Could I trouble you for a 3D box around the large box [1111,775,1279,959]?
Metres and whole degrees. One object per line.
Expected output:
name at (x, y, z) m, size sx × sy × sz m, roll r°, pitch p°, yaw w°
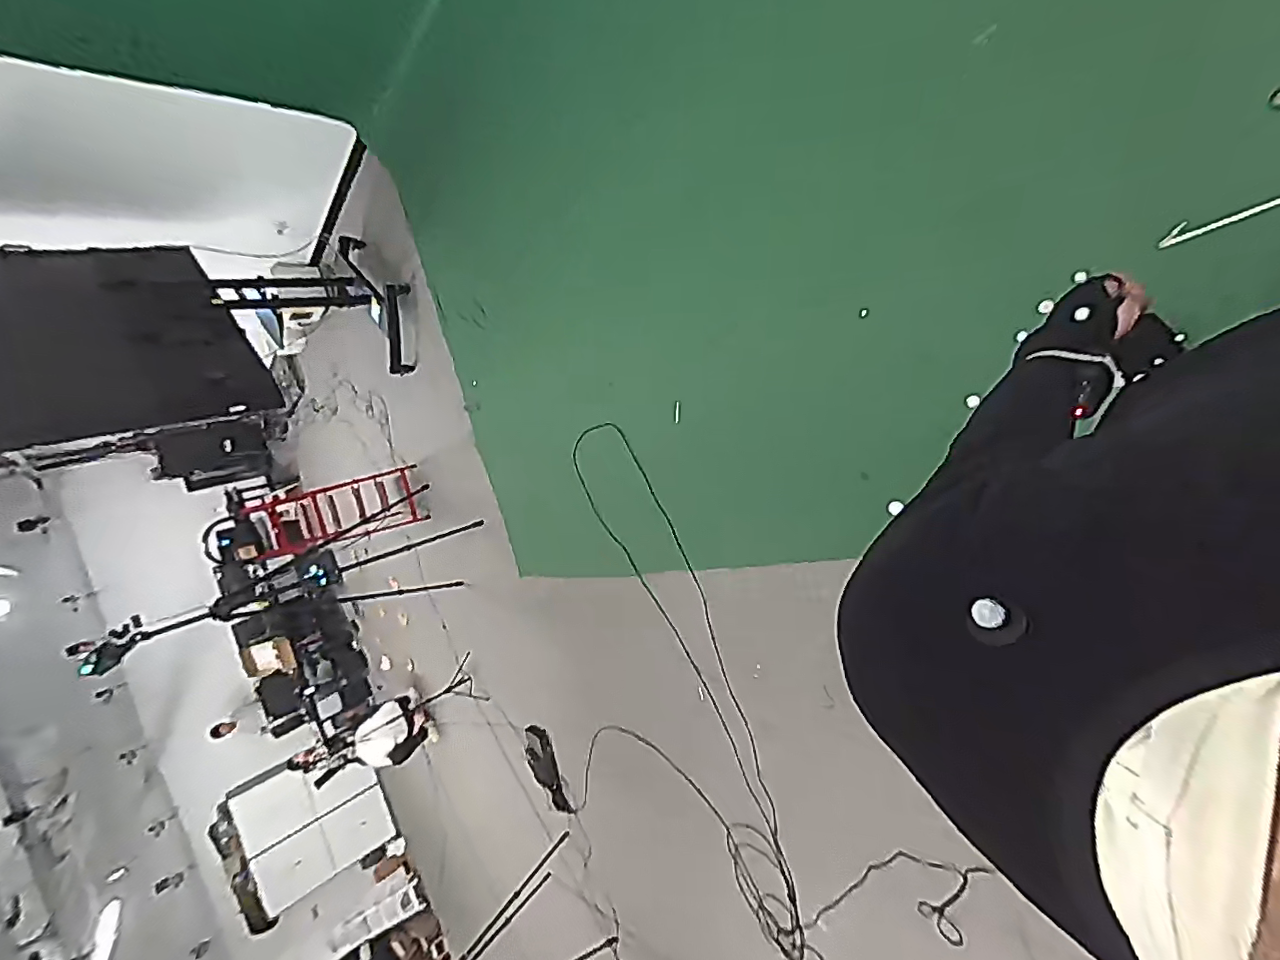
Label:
large box at (1.350, 0.916, 1.191) m, size 0.408 × 0.320 × 0.320 m, roll -16°, pitch 93°, yaw 47°
